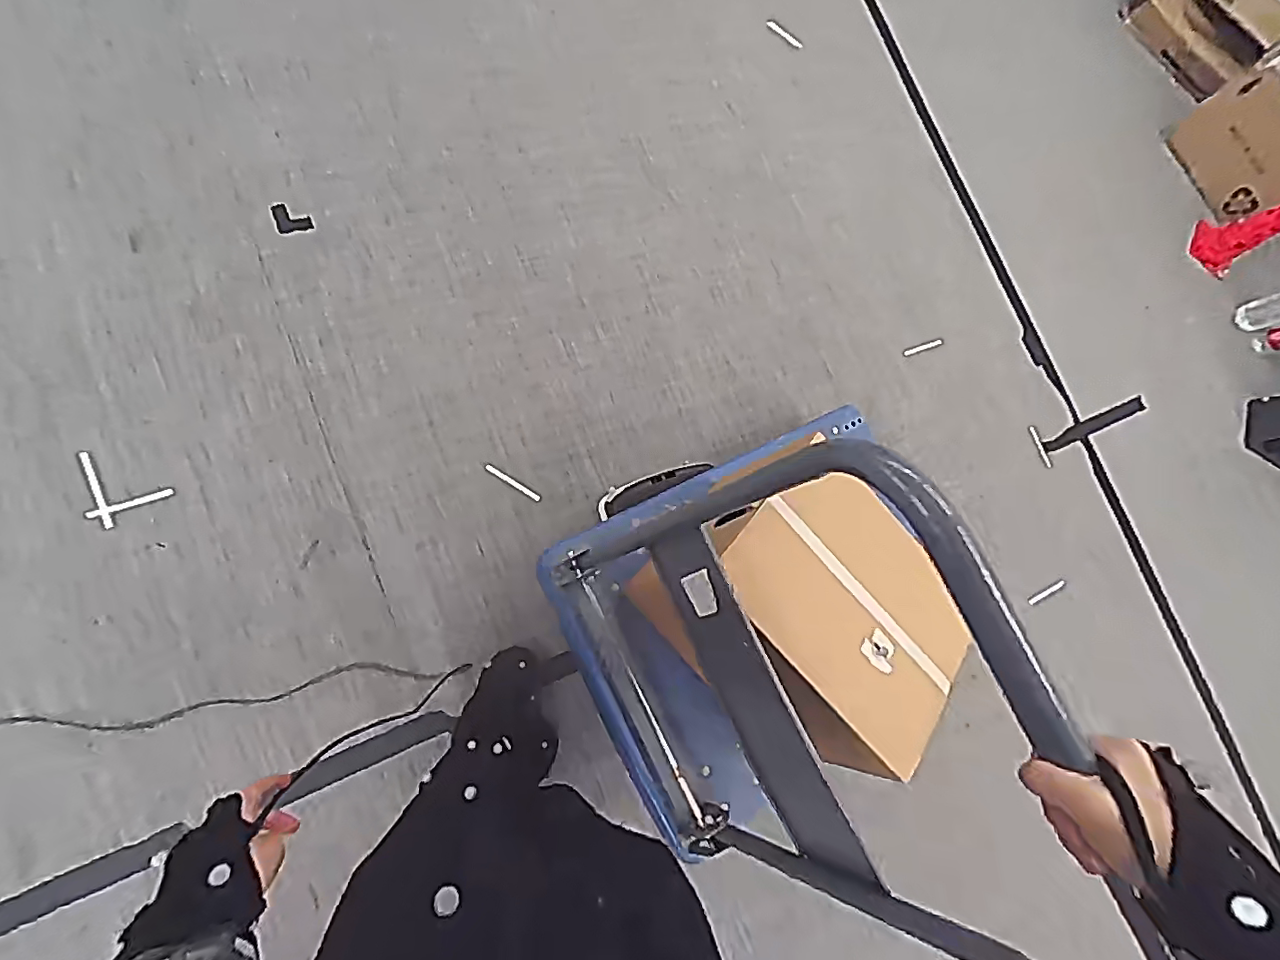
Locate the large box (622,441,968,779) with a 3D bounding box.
[{"bbox_3d":[0.247,0.212,0.918,0.408,0.320,0.320,47,62,-5],"label":"large box"}]
